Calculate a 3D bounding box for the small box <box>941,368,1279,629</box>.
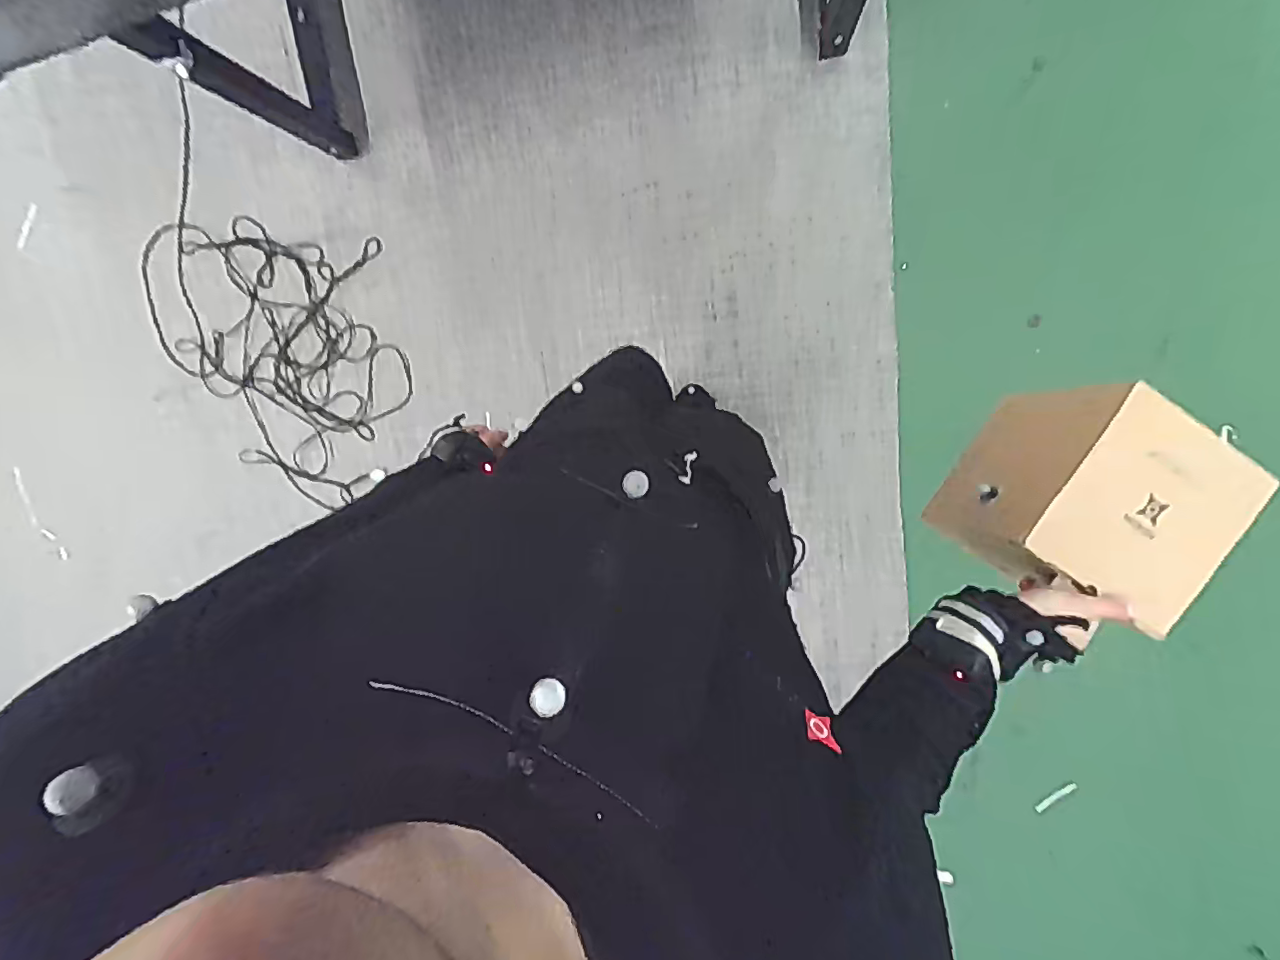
[{"bbox_3d":[0.448,0.012,0.548,0.168,0.176,0.179,32,93,-5],"label":"small box"}]
